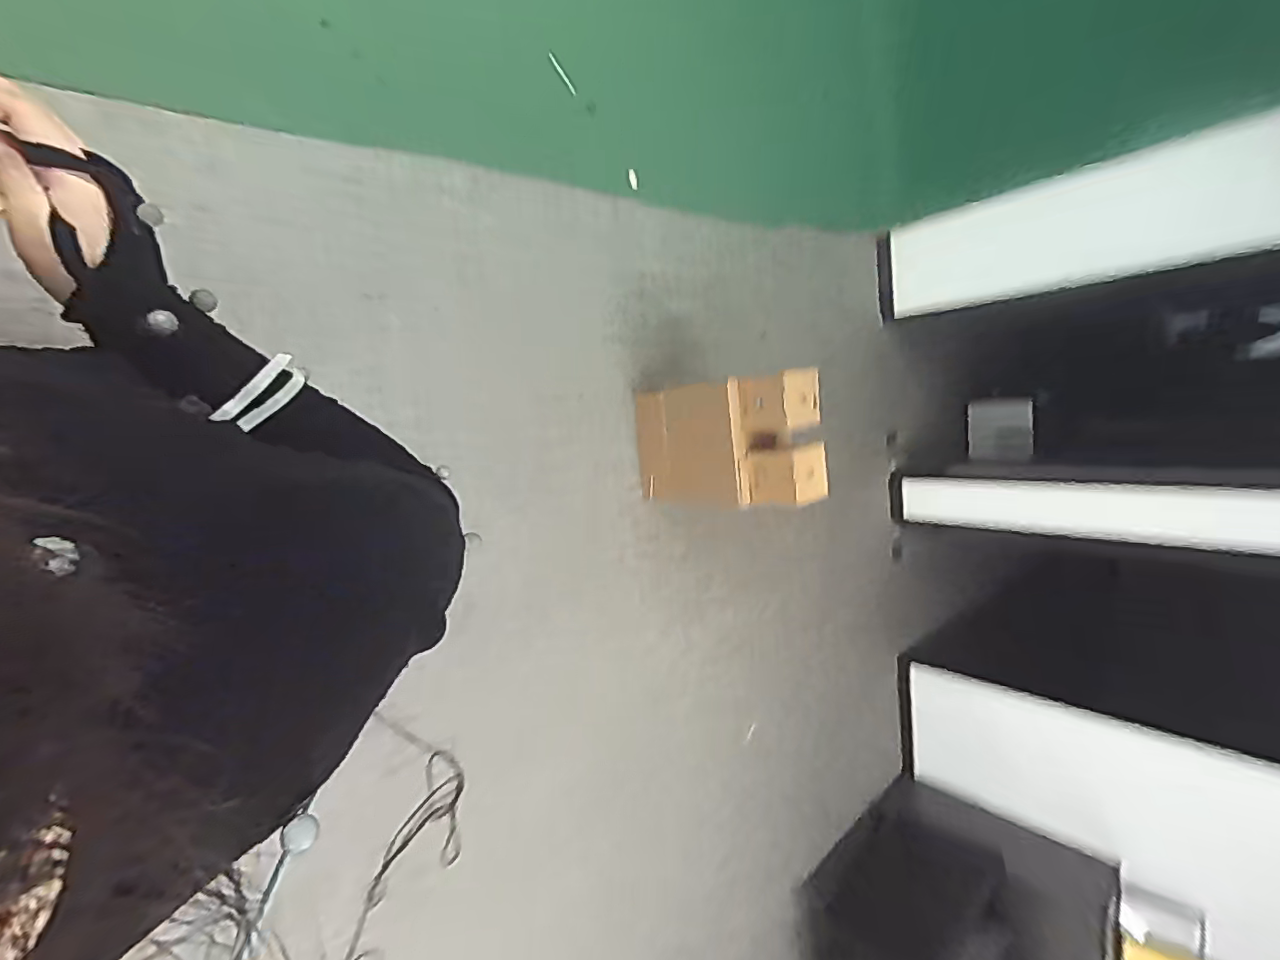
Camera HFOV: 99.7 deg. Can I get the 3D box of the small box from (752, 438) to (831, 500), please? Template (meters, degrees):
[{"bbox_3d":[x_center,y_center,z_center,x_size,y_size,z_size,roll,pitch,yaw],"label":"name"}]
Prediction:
[{"bbox_3d":[0.473,-0.040,1.694,0.179,0.176,0.168,-15,101,-39],"label":"small box"}]

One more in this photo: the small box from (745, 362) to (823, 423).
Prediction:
[{"bbox_3d":[0.433,-0.264,1.645,0.179,0.176,0.168,-14,103,-37],"label":"small box"}]
